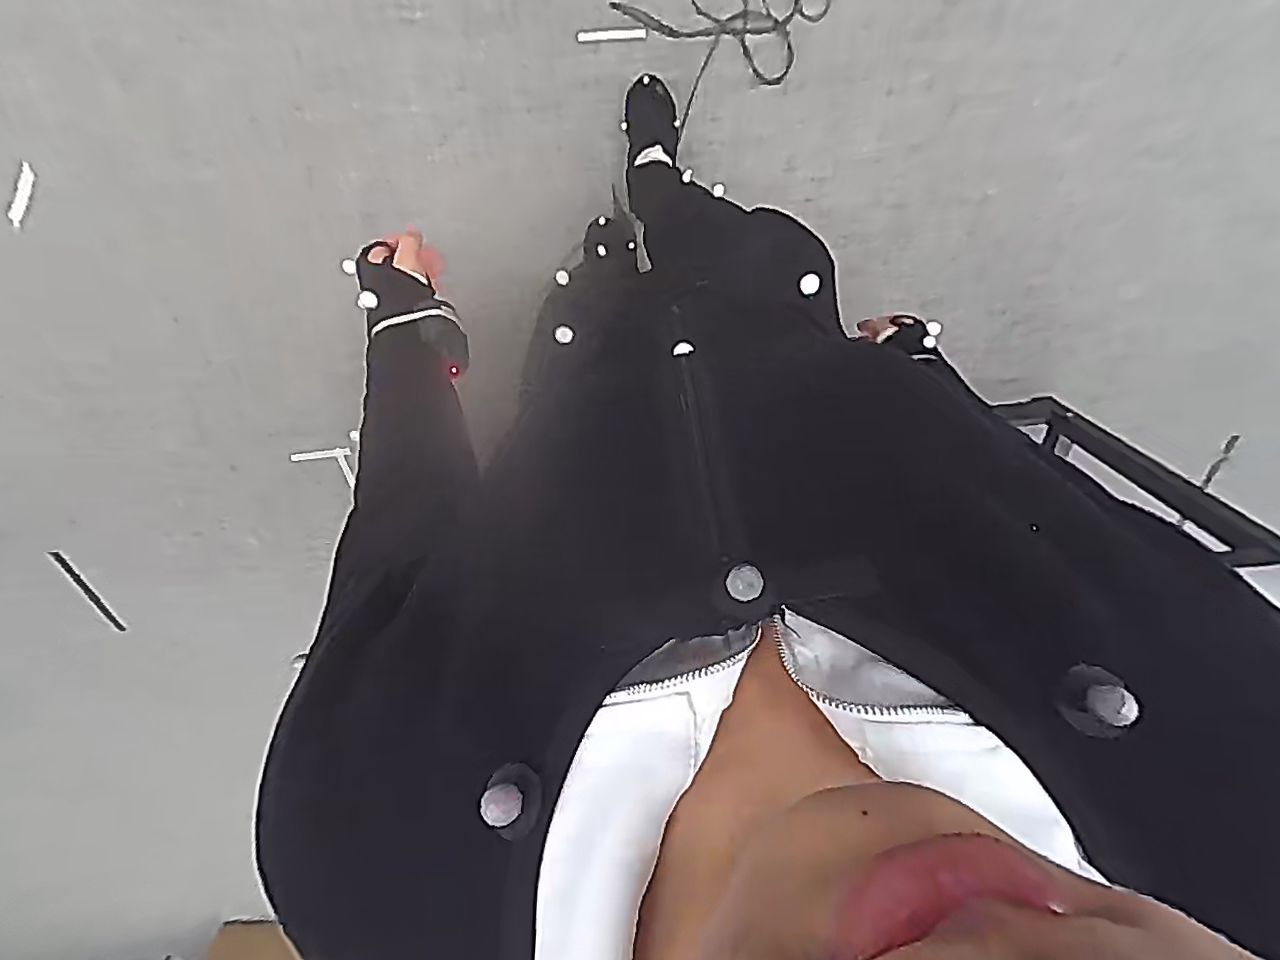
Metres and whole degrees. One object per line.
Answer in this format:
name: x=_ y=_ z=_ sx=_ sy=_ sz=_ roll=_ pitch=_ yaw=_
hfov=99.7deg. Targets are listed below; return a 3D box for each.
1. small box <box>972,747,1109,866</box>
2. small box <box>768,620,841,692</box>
small box: x=0.897 y=0.742 z=1.234 sx=0.168 sy=0.176 sz=0.179 roll=-7 pitch=122 yaw=-1
small box: x=0.611 y=0.654 z=2.023 sx=0.179 sy=0.176 sz=0.168 roll=34 pitch=115 yaw=-22
